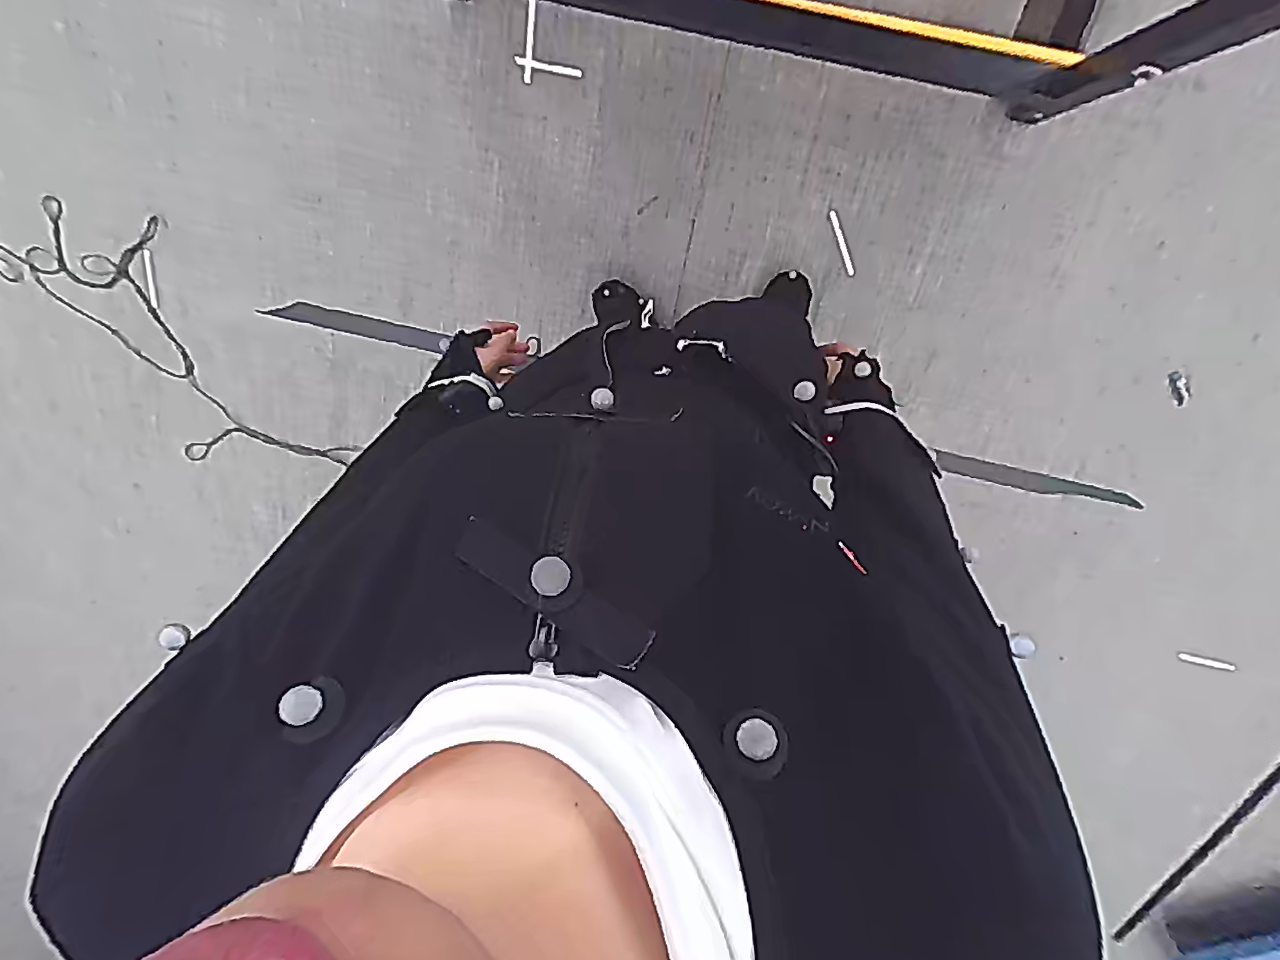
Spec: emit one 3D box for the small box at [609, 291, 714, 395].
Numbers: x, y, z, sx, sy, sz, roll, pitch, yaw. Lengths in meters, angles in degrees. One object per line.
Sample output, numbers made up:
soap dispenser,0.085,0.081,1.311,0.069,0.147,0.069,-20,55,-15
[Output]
small box,0.047,-0.299,1.182,0.179,0.176,0.168,-28,105,12
